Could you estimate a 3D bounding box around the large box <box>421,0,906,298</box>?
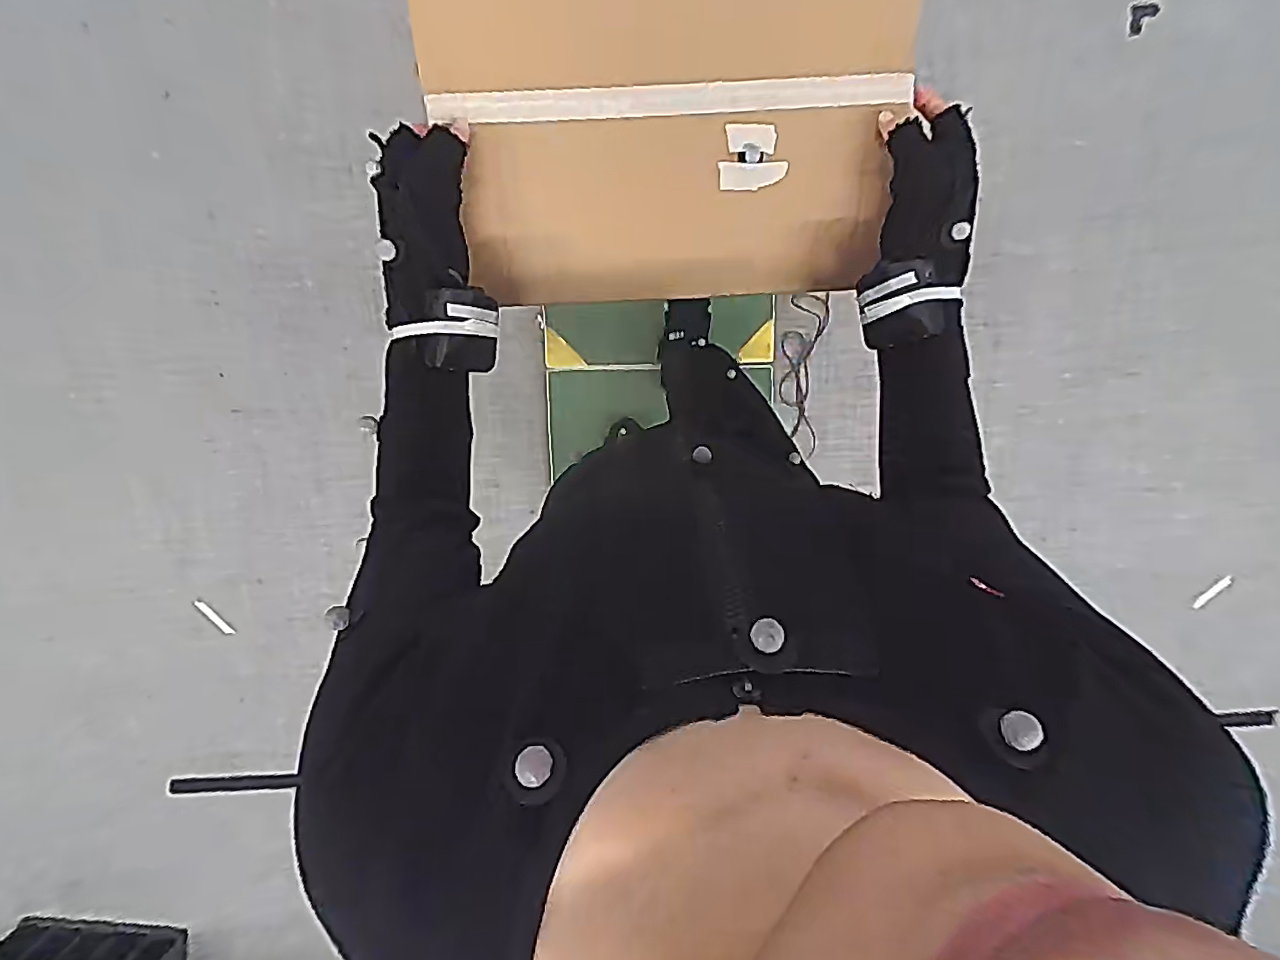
[{"bbox_3d":[0.017,-0.386,0.604,0.408,0.320,0.320,-4,112,-2],"label":"large box"}]
